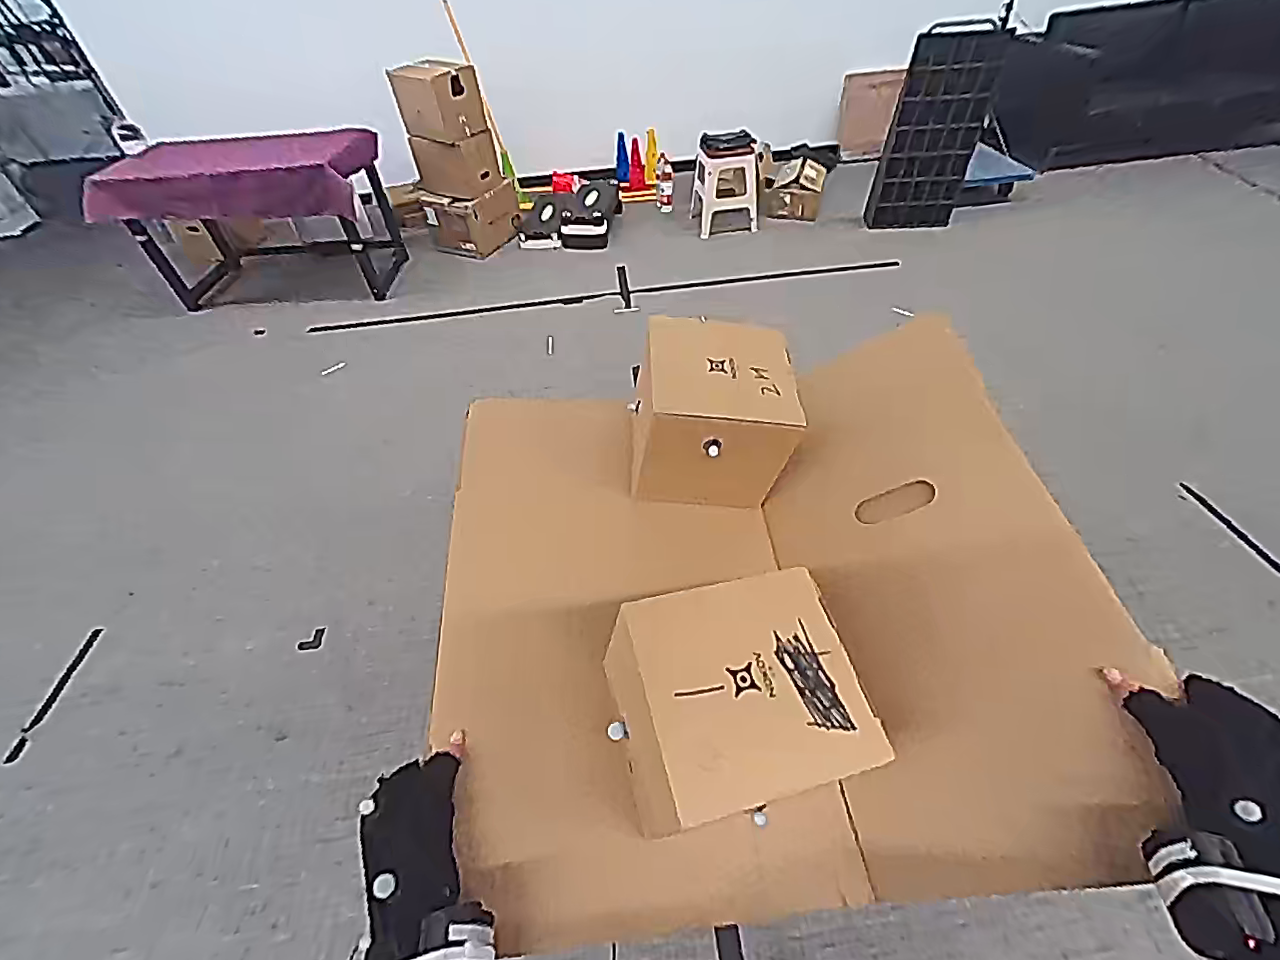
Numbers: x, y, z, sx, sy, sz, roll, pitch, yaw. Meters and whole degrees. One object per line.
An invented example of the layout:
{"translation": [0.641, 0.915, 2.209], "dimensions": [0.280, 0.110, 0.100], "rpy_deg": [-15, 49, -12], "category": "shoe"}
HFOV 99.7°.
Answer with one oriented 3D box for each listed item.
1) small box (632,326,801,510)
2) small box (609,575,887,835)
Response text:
{"translation": [0.085, -0.074, 0.705], "dimensions": [0.179, 0.176, 0.168], "rpy_deg": [5, 54, -7], "category": "small box"}
{"translation": [0.078, 0.209, 0.499], "dimensions": [0.179, 0.176, 0.168], "rpy_deg": [-9, 57, -15], "category": "small box"}
